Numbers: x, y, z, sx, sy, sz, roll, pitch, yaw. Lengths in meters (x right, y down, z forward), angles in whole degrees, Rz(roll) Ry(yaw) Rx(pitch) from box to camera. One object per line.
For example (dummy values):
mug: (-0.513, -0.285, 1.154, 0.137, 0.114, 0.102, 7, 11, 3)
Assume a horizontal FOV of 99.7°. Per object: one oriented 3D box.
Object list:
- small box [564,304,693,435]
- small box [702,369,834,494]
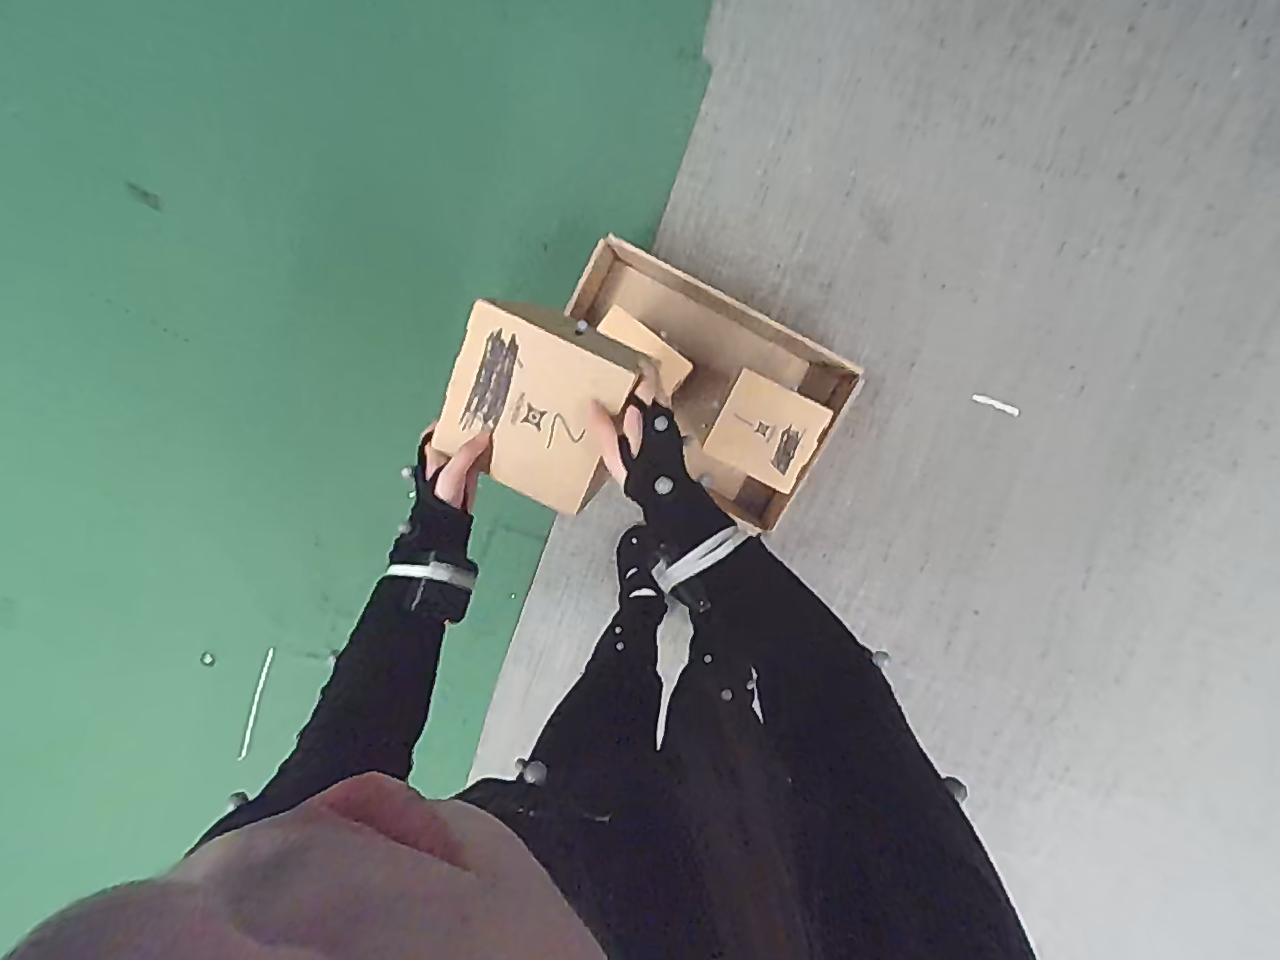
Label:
small box: (-0.017, -0.204, 1.035, 0.179, 0.176, 0.168, 38, 100, -2)
small box: (0.231, -0.096, 1.020, 0.179, 0.176, 0.168, 27, 100, 3)
